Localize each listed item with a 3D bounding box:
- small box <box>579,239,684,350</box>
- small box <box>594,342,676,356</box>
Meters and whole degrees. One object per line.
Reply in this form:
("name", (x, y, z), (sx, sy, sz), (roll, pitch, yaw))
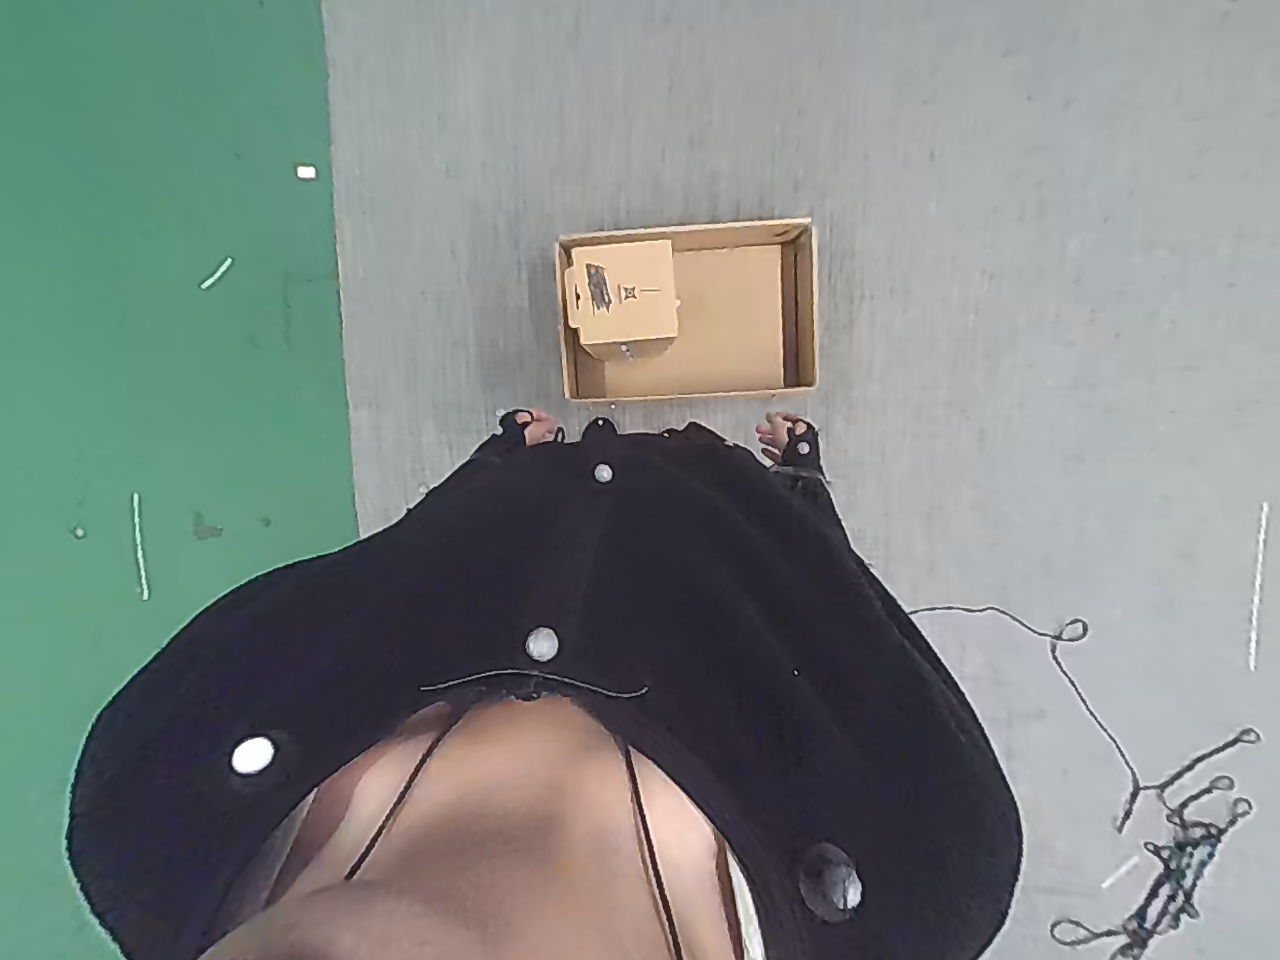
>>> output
("small box", (-0.012, -0.340, 1.022), (0.179, 0.176, 0.168), (-5, 99, 2))
("small box", (-0.011, -0.366, 1.183), (0.179, 0.176, 0.168), (-4, 98, 2))
